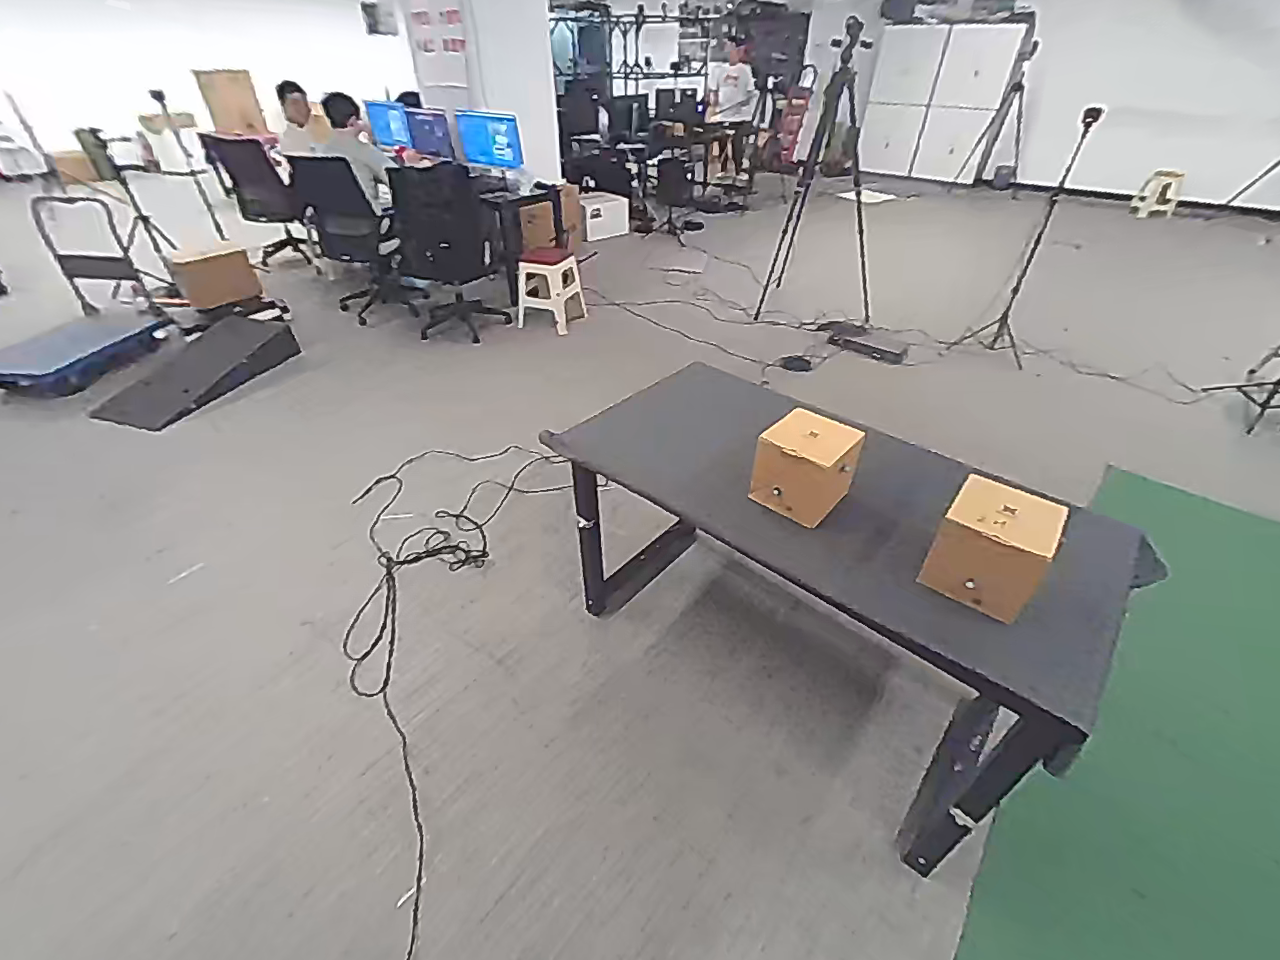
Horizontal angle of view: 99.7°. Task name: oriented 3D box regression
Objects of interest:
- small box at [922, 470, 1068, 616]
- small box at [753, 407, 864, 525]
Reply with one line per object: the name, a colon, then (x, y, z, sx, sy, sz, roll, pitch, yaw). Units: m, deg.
small box: (0.653, 0.114, 1.006, 0.168, 0.176, 0.179, 26, 45, 31)
small box: (0.368, -0.033, 1.206, 0.168, 0.176, 0.179, 28, 46, 31)
